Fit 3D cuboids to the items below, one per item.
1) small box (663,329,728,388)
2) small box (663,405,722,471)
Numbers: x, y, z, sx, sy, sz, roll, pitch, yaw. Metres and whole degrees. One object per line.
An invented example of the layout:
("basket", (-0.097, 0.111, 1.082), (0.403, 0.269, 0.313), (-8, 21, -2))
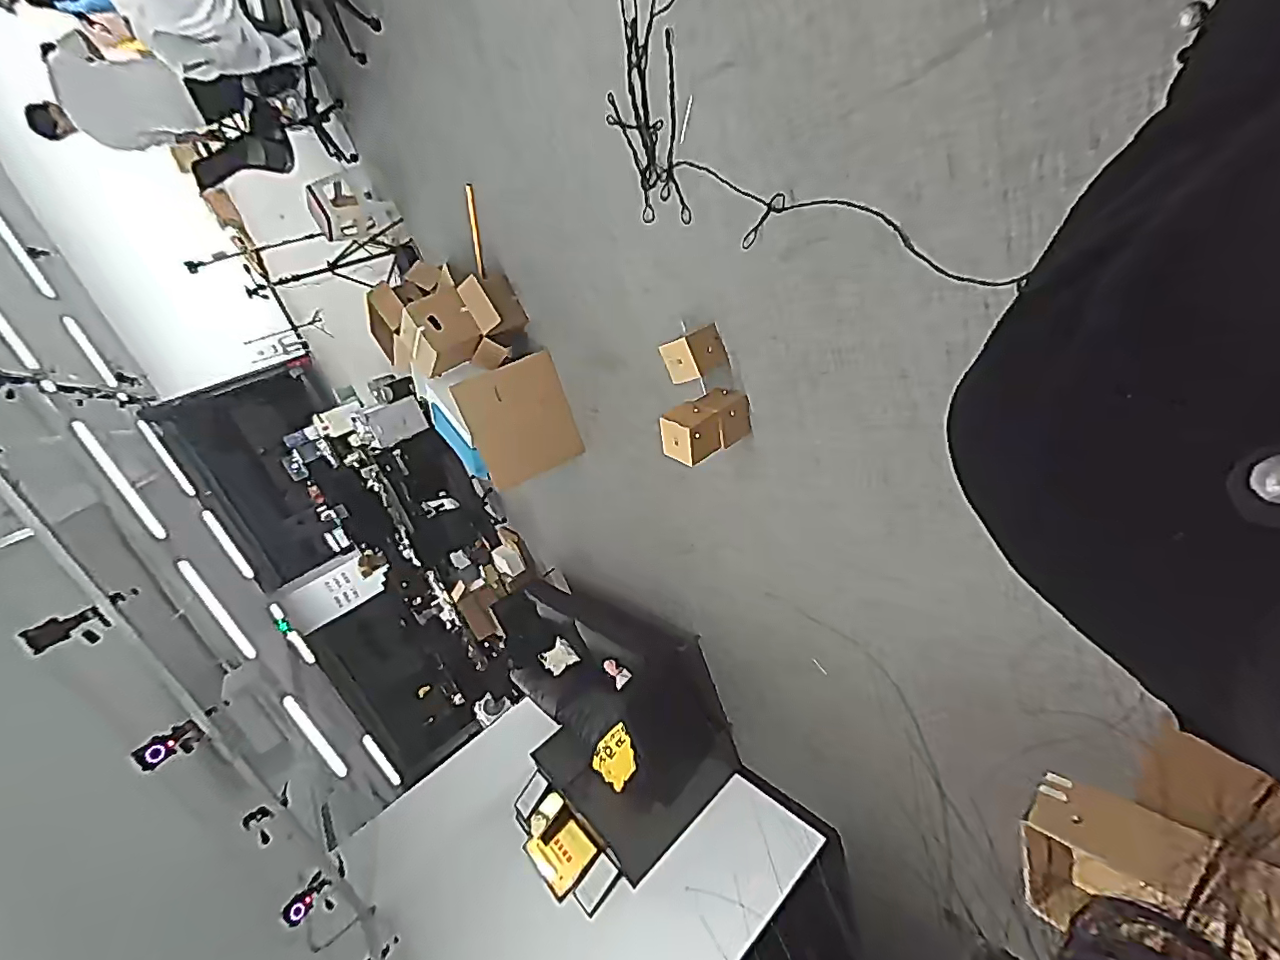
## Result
("small box", (0.227, -0.483, 2.143), (0.179, 0.176, 0.168), (-1, 117, 57))
("small box", (0.212, -0.170, 2.136), (0.168, 0.176, 0.179), (29, 139, 42))
